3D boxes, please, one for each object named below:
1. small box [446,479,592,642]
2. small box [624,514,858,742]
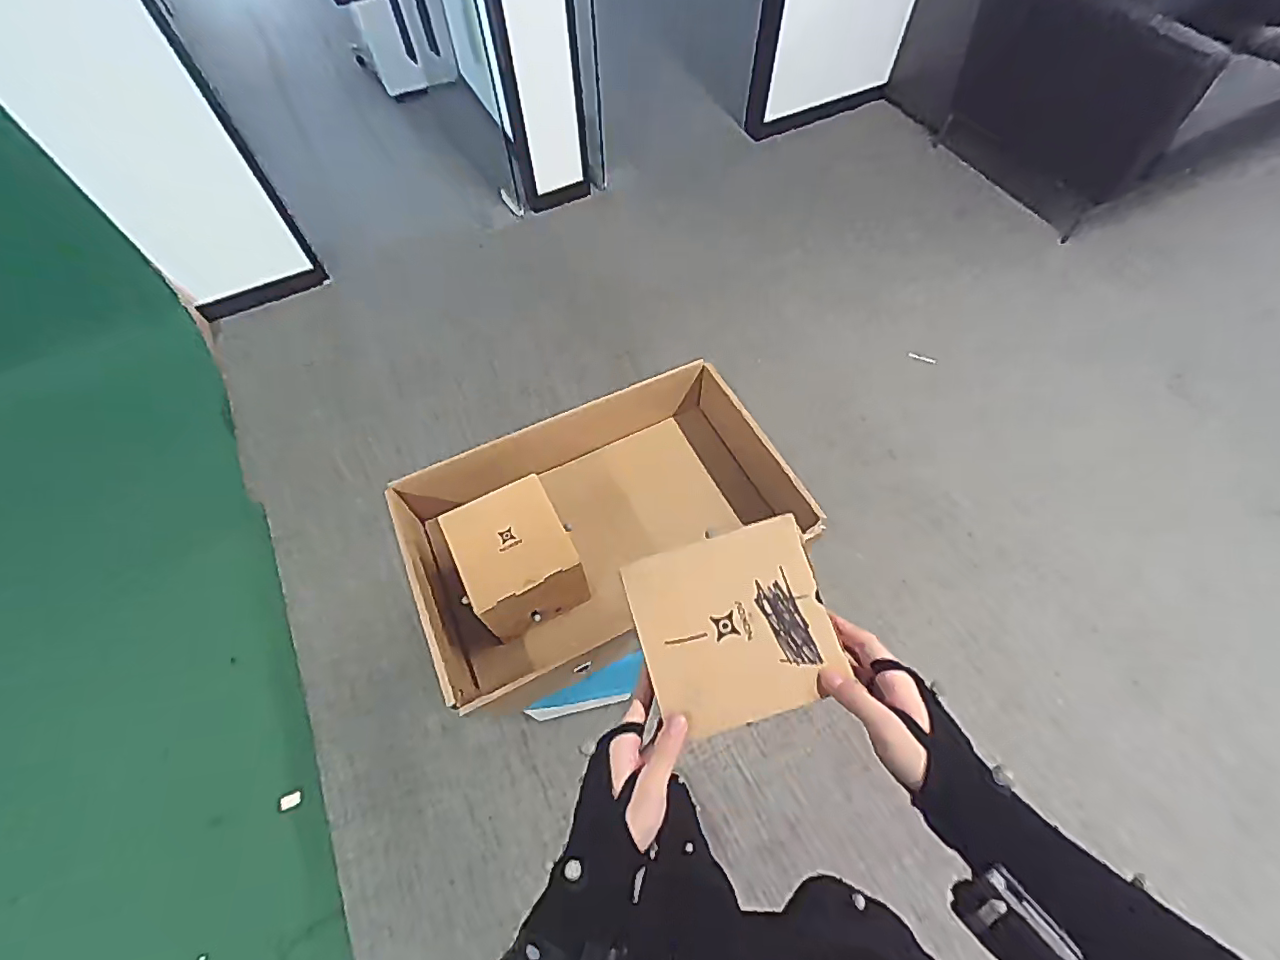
[{"bbox_3d":[-0.190,0.135,0.878,0.168,0.176,0.179,-25,63,-14],"label":"small box"},{"bbox_3d":[0.090,0.149,0.567,0.179,0.176,0.168,-17,74,-2],"label":"small box"}]
